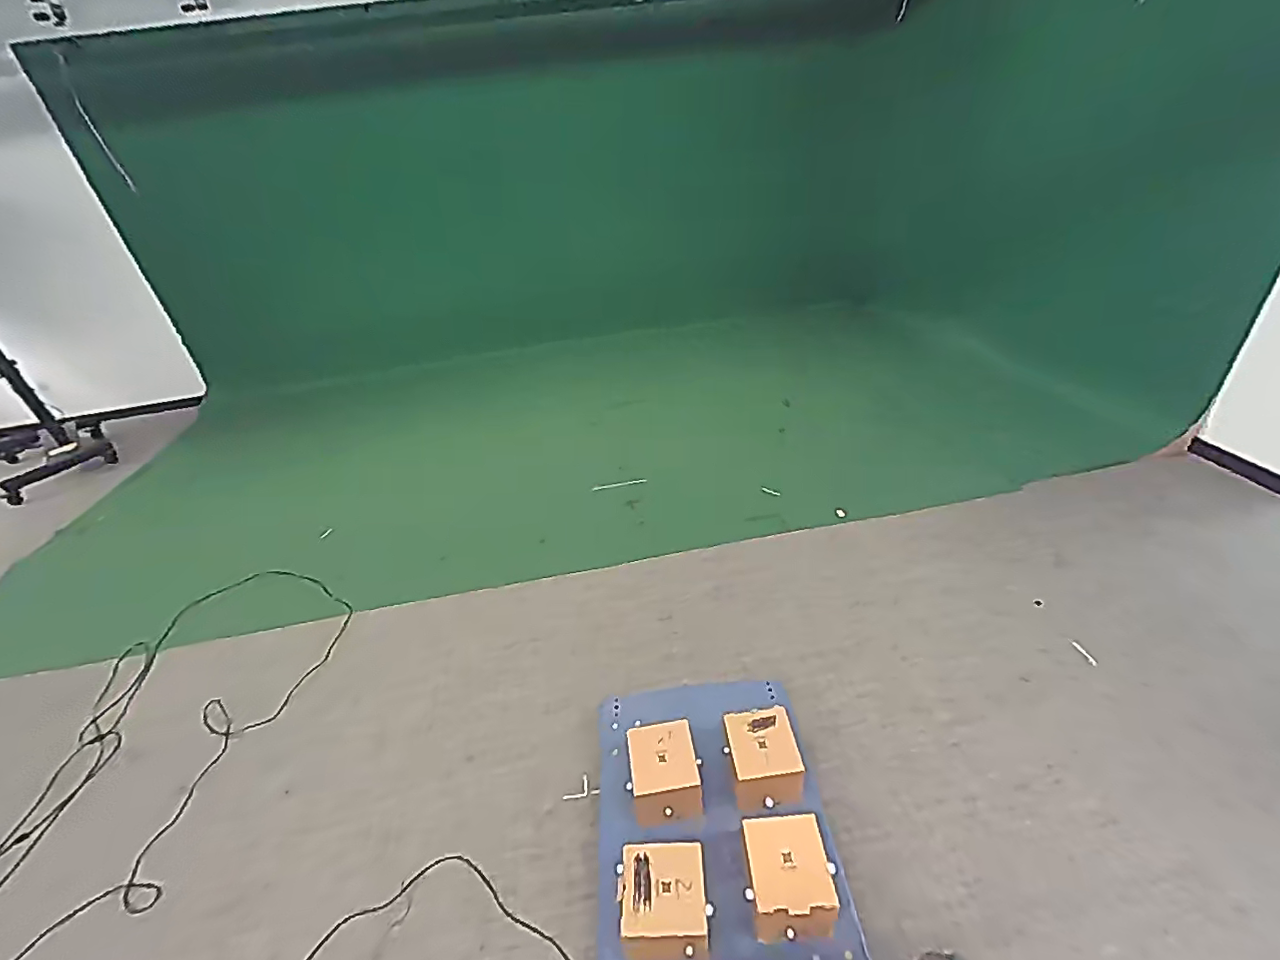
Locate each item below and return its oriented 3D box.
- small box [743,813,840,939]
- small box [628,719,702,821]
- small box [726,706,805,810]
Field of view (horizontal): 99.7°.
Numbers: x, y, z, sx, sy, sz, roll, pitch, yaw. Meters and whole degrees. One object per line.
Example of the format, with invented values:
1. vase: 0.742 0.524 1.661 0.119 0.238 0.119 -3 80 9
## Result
1. small box: 0.325 0.874 1.196 0.168 0.176 0.179 -6 35 2
2. small box: 0.065 0.760 1.409 0.168 0.176 0.179 -8 34 -3
3. small box: 0.320 0.725 1.412 0.168 0.176 0.179 -8 35 0
